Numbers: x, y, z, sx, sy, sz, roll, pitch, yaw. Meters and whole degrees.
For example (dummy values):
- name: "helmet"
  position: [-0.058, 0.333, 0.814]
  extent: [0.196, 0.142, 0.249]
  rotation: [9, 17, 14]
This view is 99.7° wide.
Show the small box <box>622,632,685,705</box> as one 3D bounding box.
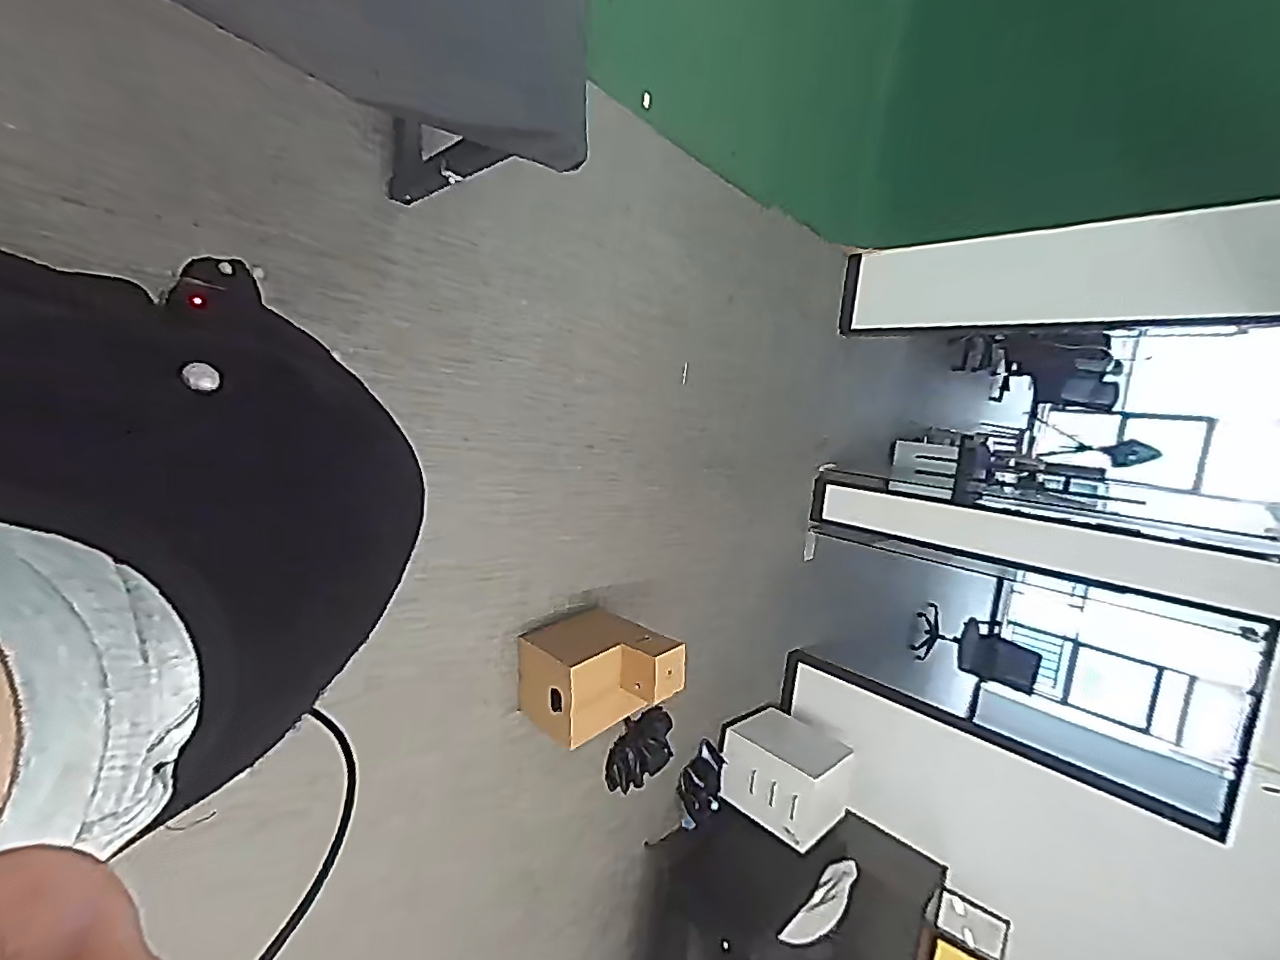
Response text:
- name: "small box"
  position: [0.047, 0.677, 1.962]
  extent: [0.168, 0.176, 0.179]
  rotation: [-8, 100, -46]
